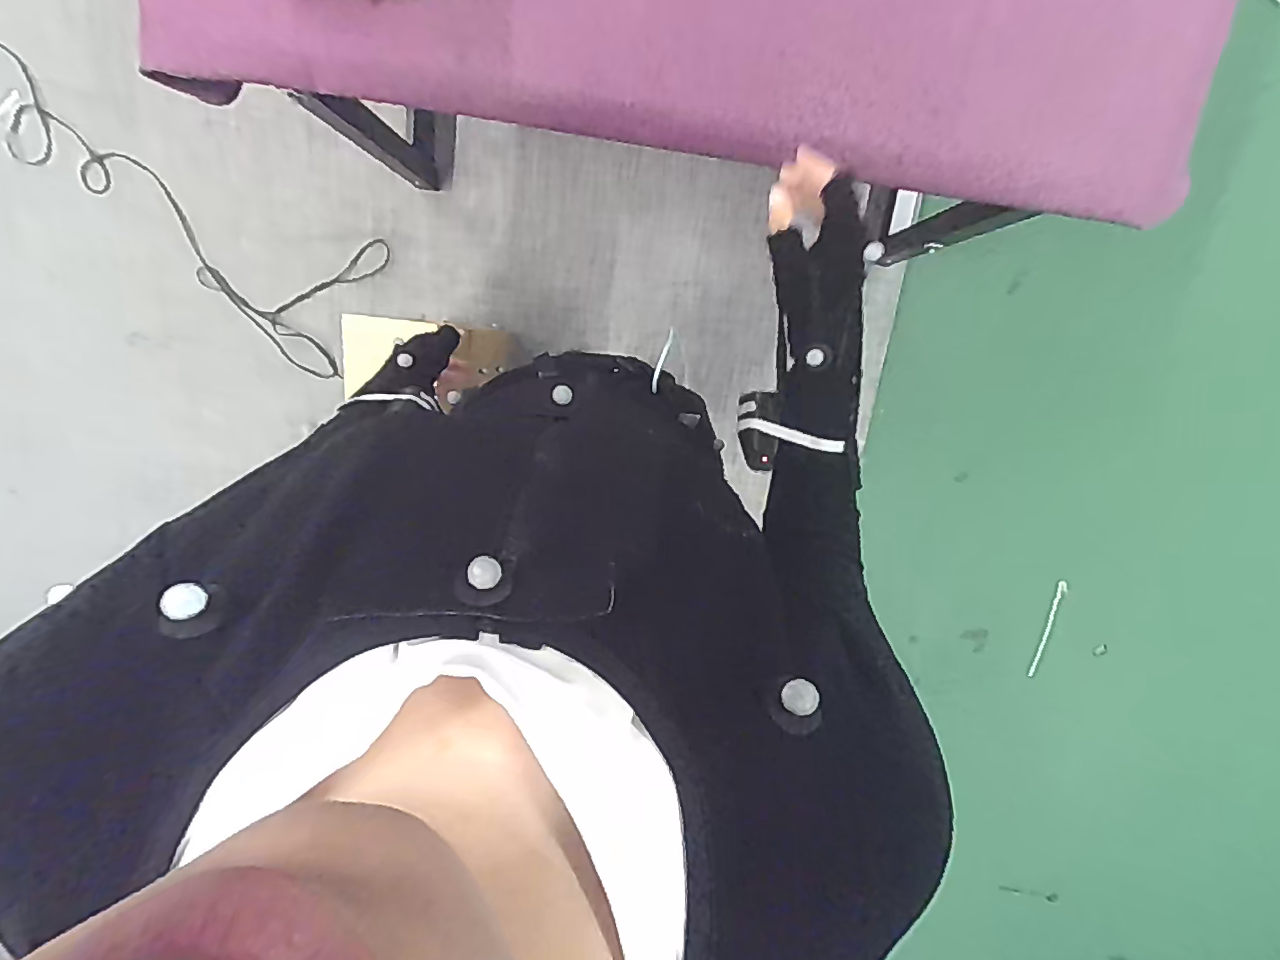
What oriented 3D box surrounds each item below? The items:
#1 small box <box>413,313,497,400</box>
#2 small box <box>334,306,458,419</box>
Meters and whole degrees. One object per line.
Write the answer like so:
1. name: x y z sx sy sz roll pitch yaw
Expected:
1. small box: -0.456 -0.306 1.332 0.168 0.176 0.179 9 105 -3
2. small box: -0.449 -0.223 1.014 0.168 0.176 0.179 7 106 -3
